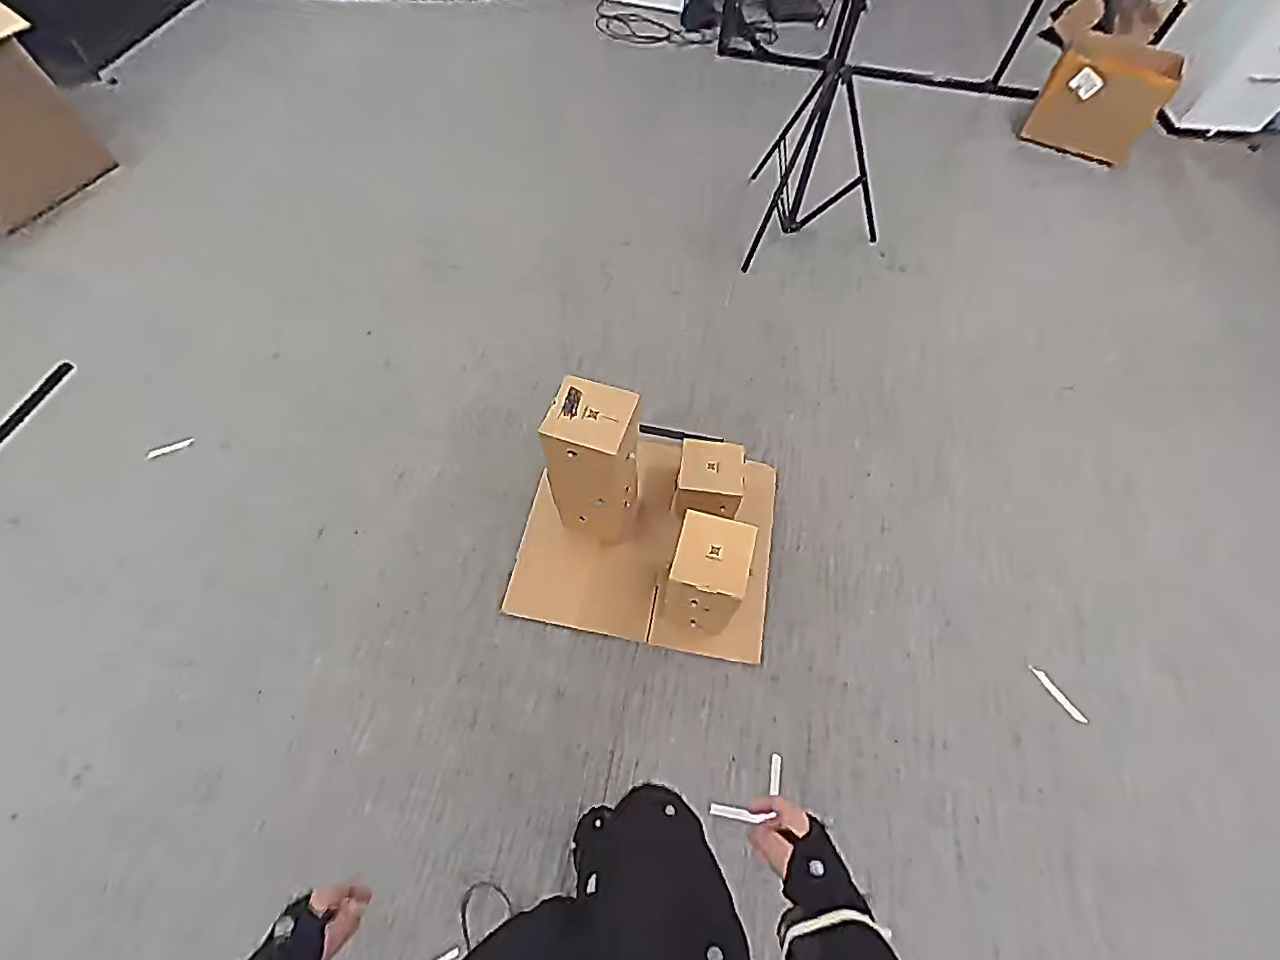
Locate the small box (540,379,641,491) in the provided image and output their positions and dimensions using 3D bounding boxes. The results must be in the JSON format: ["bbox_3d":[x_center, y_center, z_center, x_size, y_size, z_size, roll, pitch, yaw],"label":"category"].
[{"bbox_3d":[-0.105,-0.095,1.217,0.179,0.176,0.168,17,62,8],"label":"small box"}]

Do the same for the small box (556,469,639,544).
[{"bbox_3d":[-0.112,0.059,1.508,0.179,0.176,0.168,18,63,10],"label":"small box"}]

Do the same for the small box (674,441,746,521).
[{"bbox_3d":[0.198,0.010,1.545,0.179,0.176,0.168,7,60,2],"label":"small box"}]

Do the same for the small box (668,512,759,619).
[{"bbox_3d":[0.164,0.202,1.252,0.168,0.176,0.179,14,63,6],"label":"small box"}]
